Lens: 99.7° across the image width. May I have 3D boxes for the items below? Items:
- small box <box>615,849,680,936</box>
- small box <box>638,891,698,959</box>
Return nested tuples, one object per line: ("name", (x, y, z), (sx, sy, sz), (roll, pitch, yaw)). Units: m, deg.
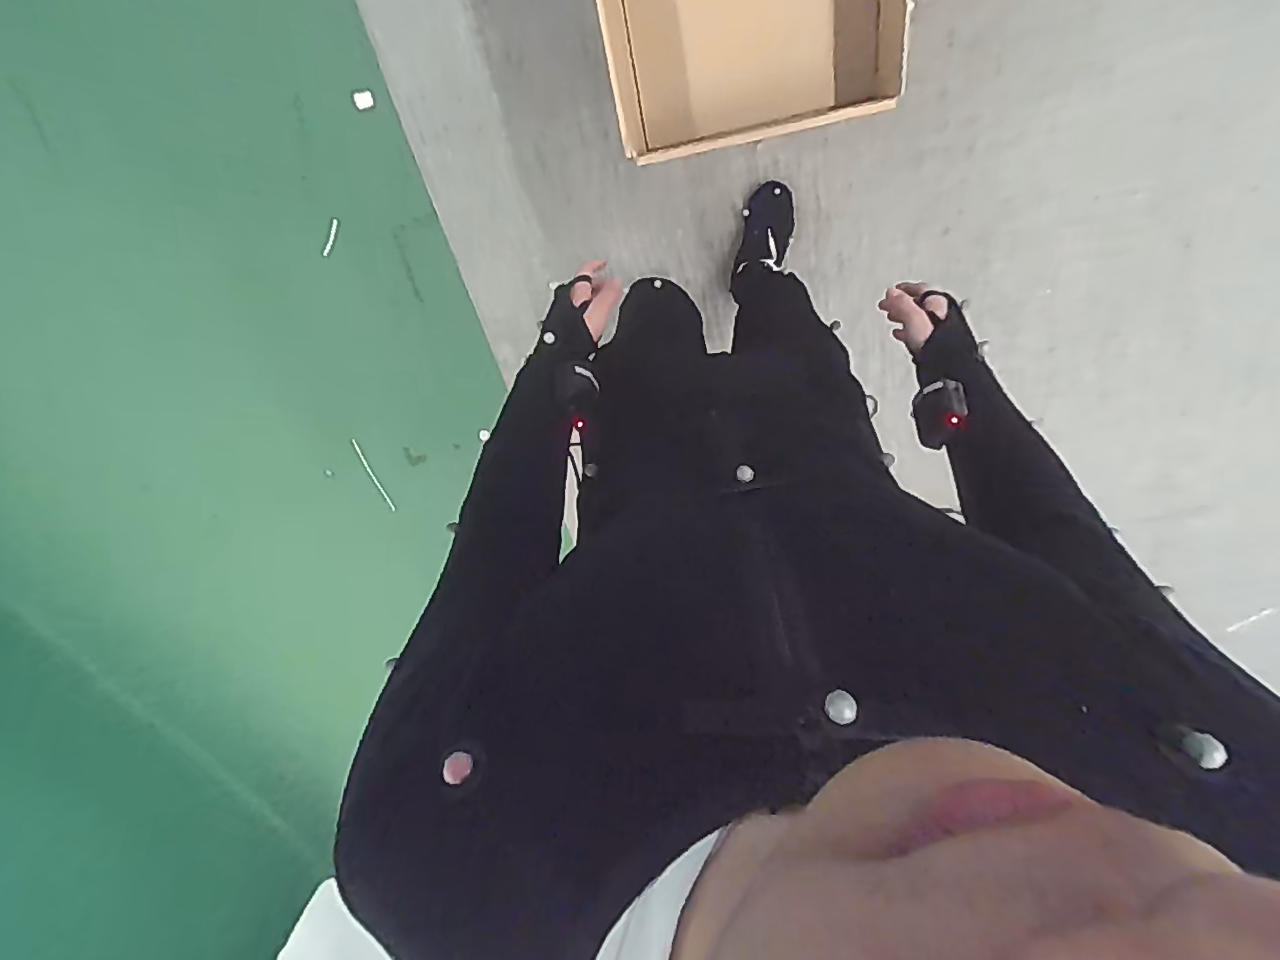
("small box", (0.030, 1.304, 1.712), (0.168, 0.176, 0.179), (-6, 123, 13))
("small box", (0.102, 1.533, 1.858), (0.168, 0.176, 0.179), (-8, 121, 16))
